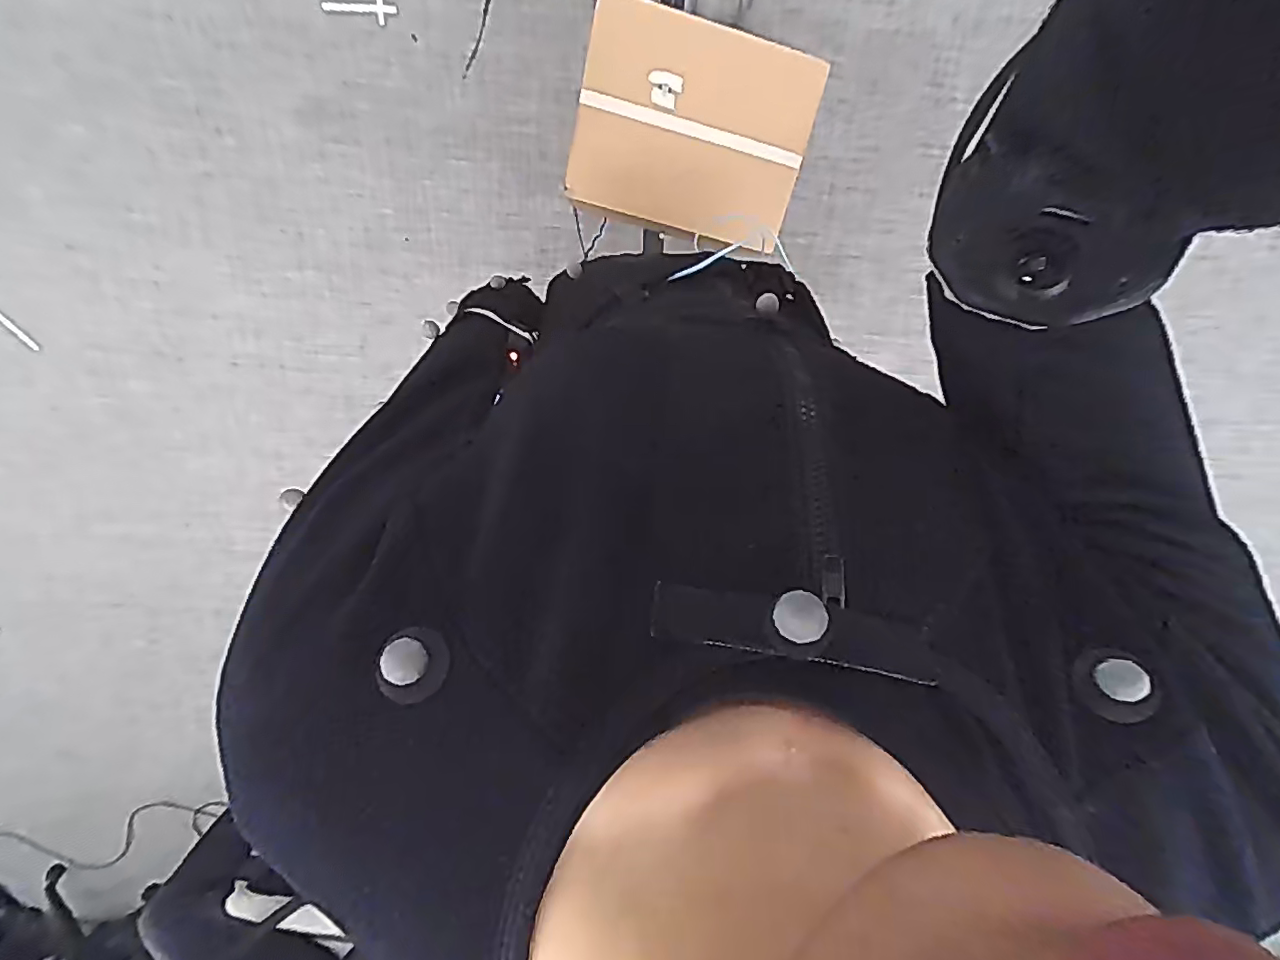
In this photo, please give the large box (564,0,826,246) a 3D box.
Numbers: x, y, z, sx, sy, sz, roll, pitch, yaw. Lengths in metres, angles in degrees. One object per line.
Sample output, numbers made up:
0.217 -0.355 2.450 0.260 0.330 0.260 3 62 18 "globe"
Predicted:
0.088 -0.679 1.085 0.408 0.320 0.320 13 111 -7 "large box"
